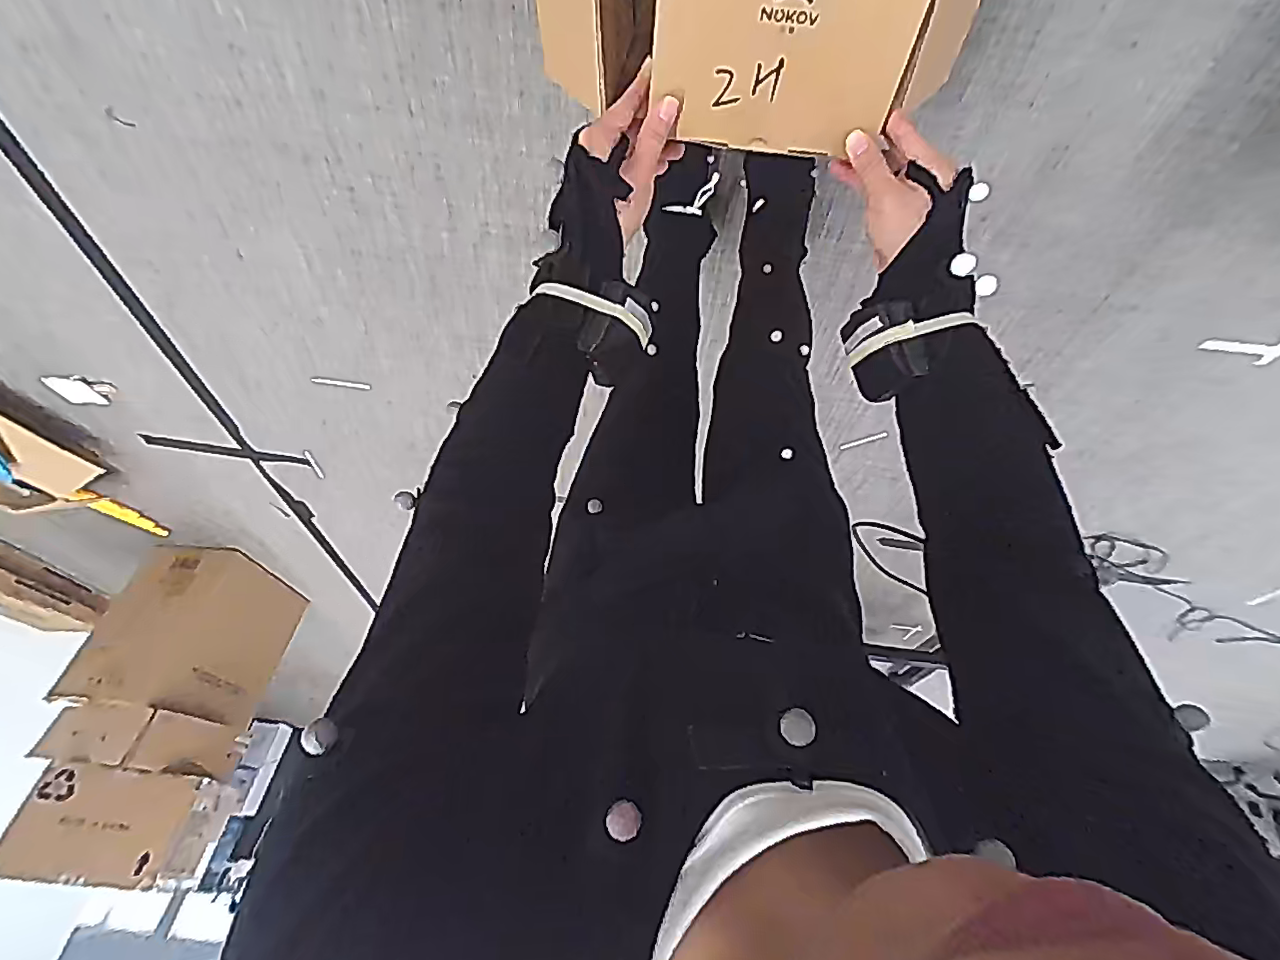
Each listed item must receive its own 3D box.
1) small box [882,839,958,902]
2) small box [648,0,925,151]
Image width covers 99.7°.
[{"bbox_3d":[0.999,1.406,1.949,0.168,0.176,0.179,12,143,-5],"label":"small box"},{"bbox_3d":[0.097,-0.364,0.375,0.168,0.176,0.179,6,142,-1],"label":"small box"}]
